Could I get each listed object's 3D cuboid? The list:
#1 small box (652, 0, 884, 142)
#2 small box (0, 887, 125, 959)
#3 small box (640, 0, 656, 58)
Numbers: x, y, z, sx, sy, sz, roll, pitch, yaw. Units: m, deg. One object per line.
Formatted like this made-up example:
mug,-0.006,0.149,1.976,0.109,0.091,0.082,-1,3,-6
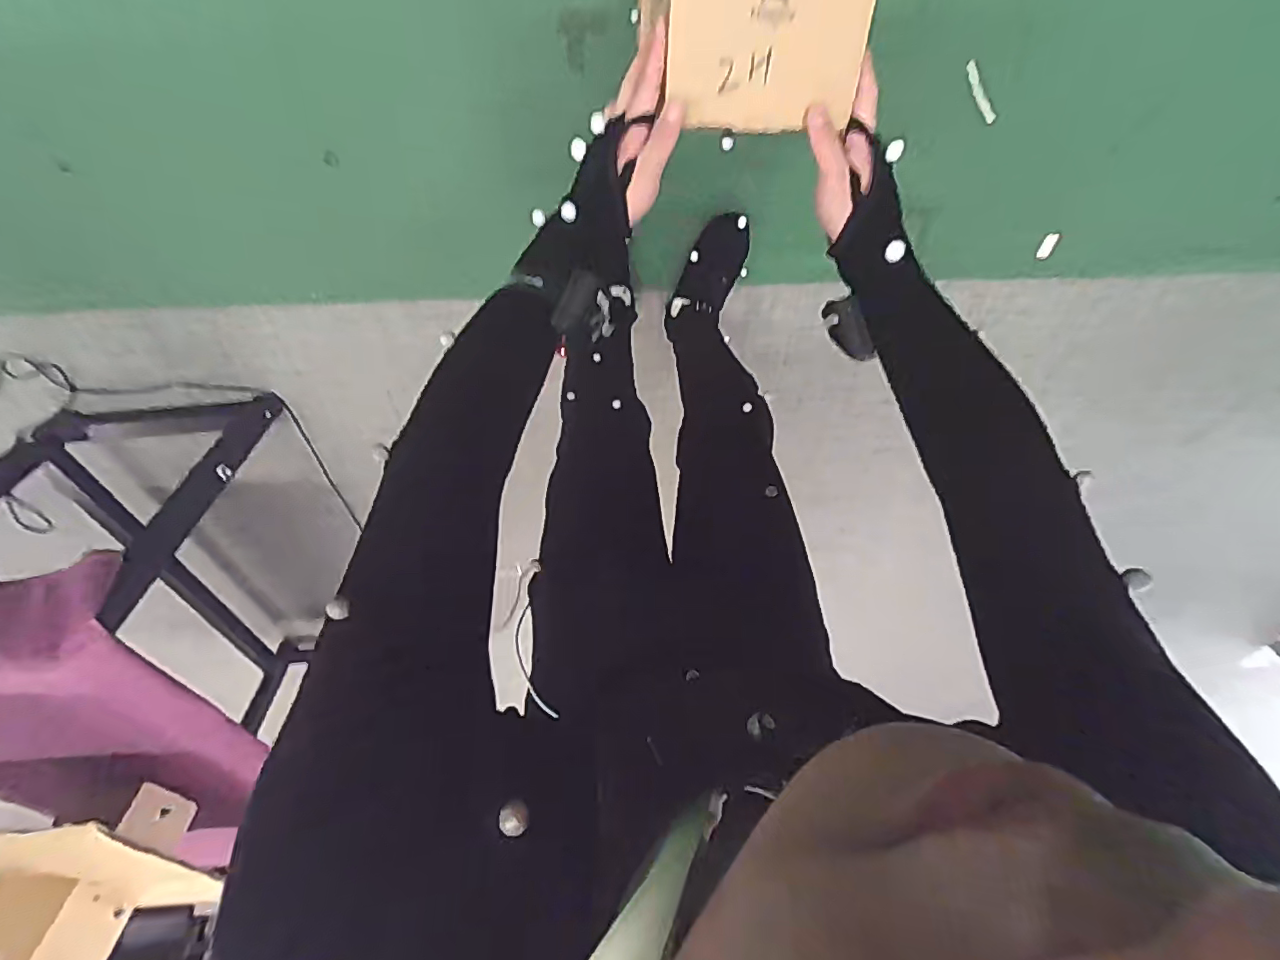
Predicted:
small box,0.102,-0.411,0.483,0.168,0.176,0.179,0,124,-5
small box,-1.142,0.889,1.019,0.179,0.176,0.168,-5,130,3
small box,0.087,-0.735,0.795,0.168,0.176,0.179,0,133,-2
